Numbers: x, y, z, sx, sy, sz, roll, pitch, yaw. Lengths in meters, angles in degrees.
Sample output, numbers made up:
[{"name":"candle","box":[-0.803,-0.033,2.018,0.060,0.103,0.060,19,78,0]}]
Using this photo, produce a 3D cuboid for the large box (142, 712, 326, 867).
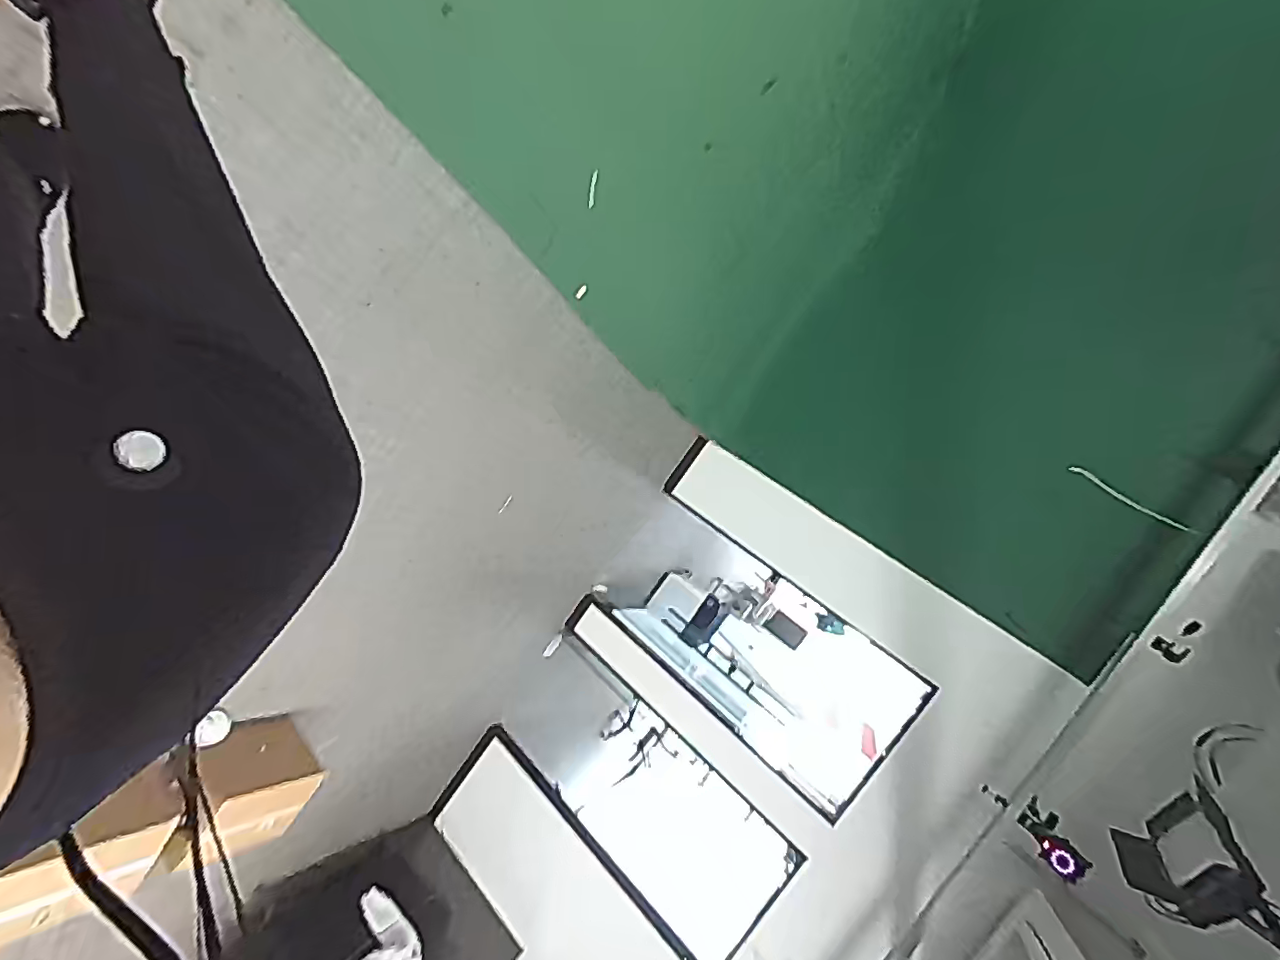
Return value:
[{"name":"large box","box":[-1.513,1.131,2.034,0.320,0.320,0.408,-53,156,2]}]
